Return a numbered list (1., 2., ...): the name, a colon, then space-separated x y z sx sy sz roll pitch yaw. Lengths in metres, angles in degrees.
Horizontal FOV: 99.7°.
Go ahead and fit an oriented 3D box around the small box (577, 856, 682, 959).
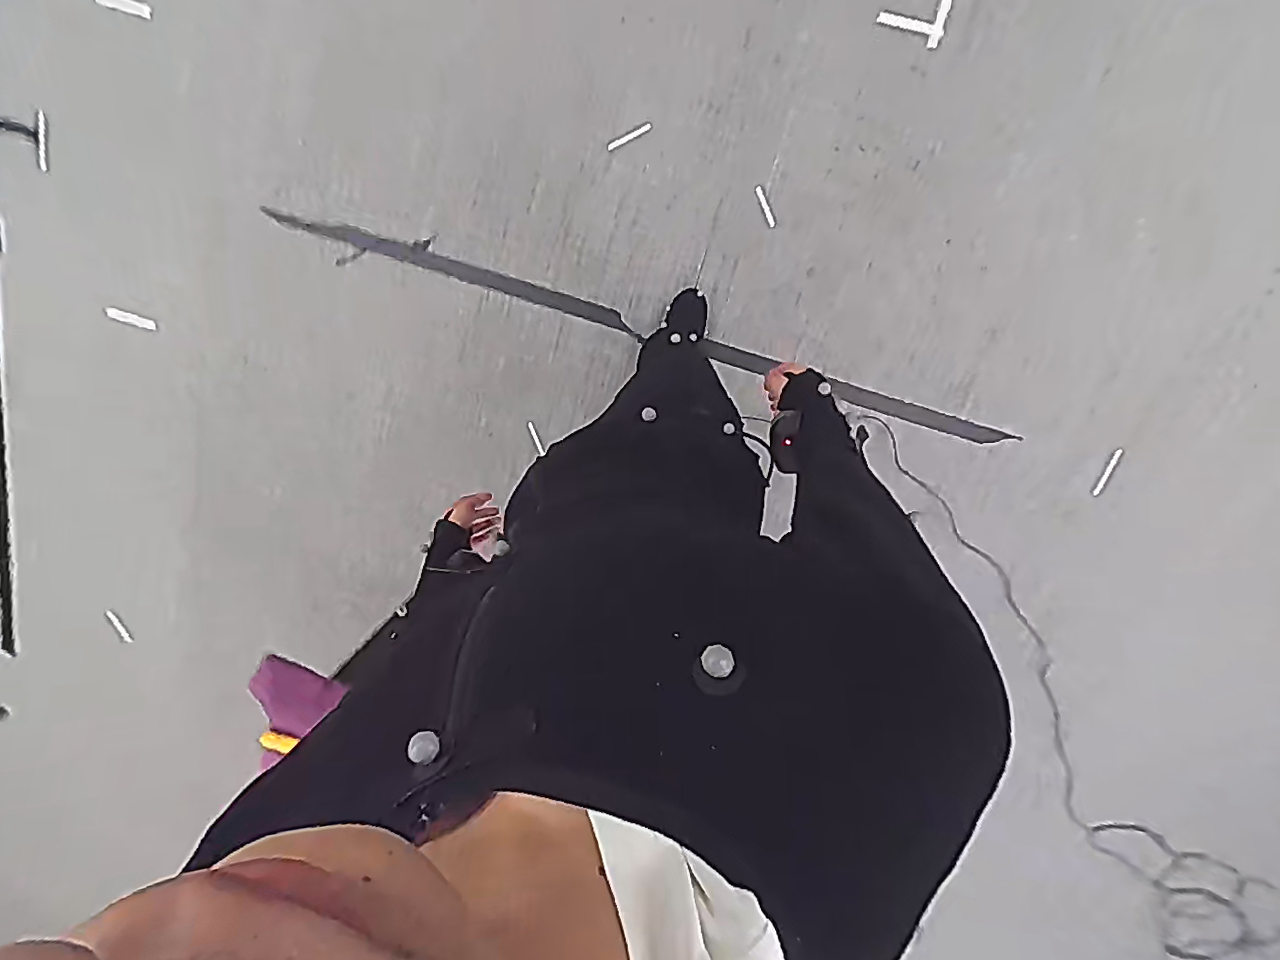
1. small box: -0.020 0.861 1.011 0.168 0.176 0.179 16 106 0
